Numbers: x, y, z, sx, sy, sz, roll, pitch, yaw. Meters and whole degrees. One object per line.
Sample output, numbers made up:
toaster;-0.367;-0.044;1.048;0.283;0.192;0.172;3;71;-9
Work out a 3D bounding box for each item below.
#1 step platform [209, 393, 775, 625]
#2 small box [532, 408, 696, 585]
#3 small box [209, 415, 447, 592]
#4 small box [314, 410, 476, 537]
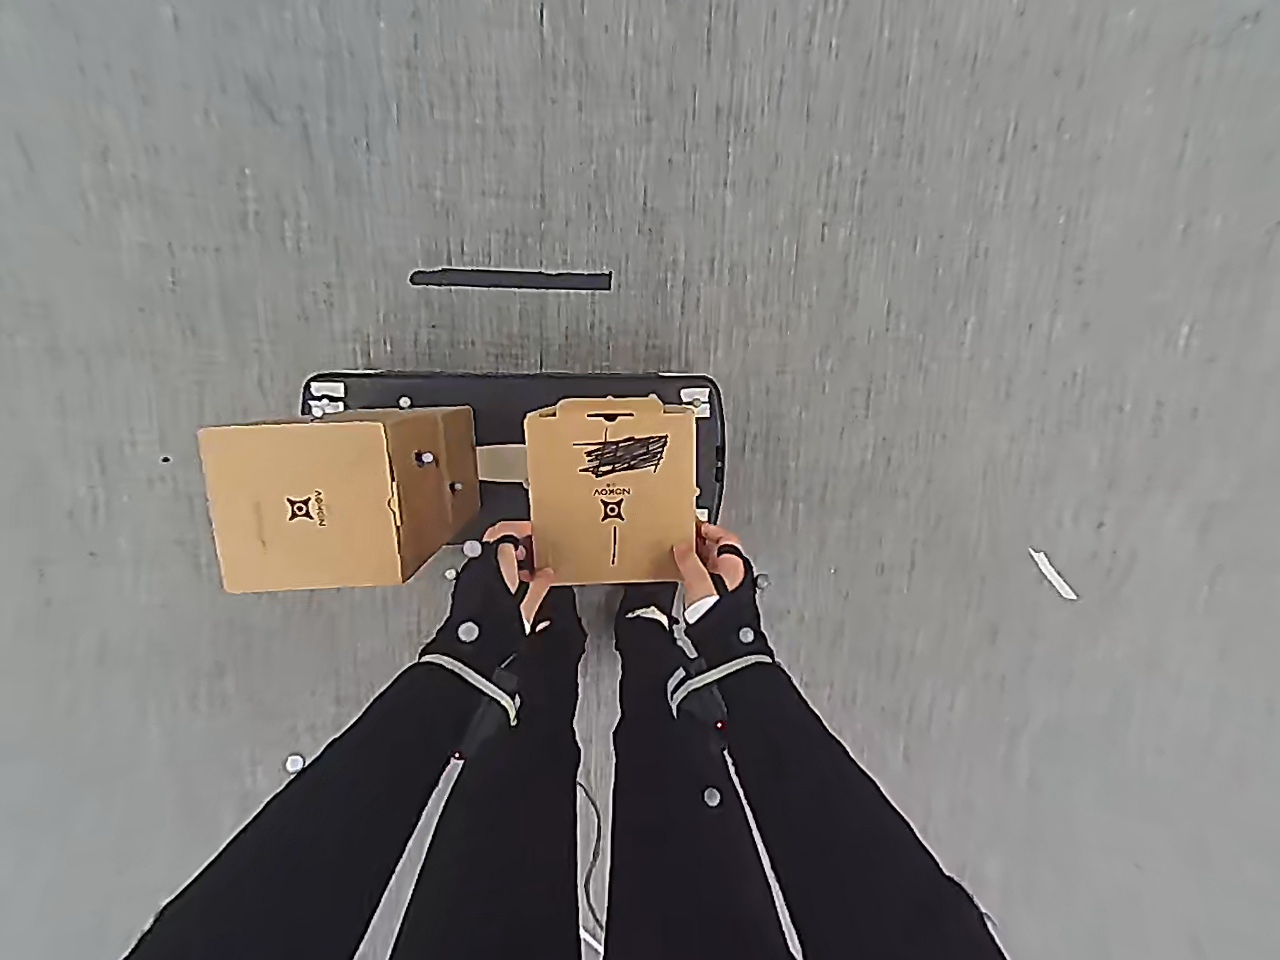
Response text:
step platform;-0.176;0.025;0.752;0.684;0.204;0.286;0;100;-4
small box;-0.029;0.007;0.625;0.168;0.176;0.179;-2;101;-2
small box;-0.328;0.015;0.612;0.179;0.176;0.168;-3;100;-3
small box;-0.337;-0.016;0.773;0.179;0.176;0.168;-2;101;-4
